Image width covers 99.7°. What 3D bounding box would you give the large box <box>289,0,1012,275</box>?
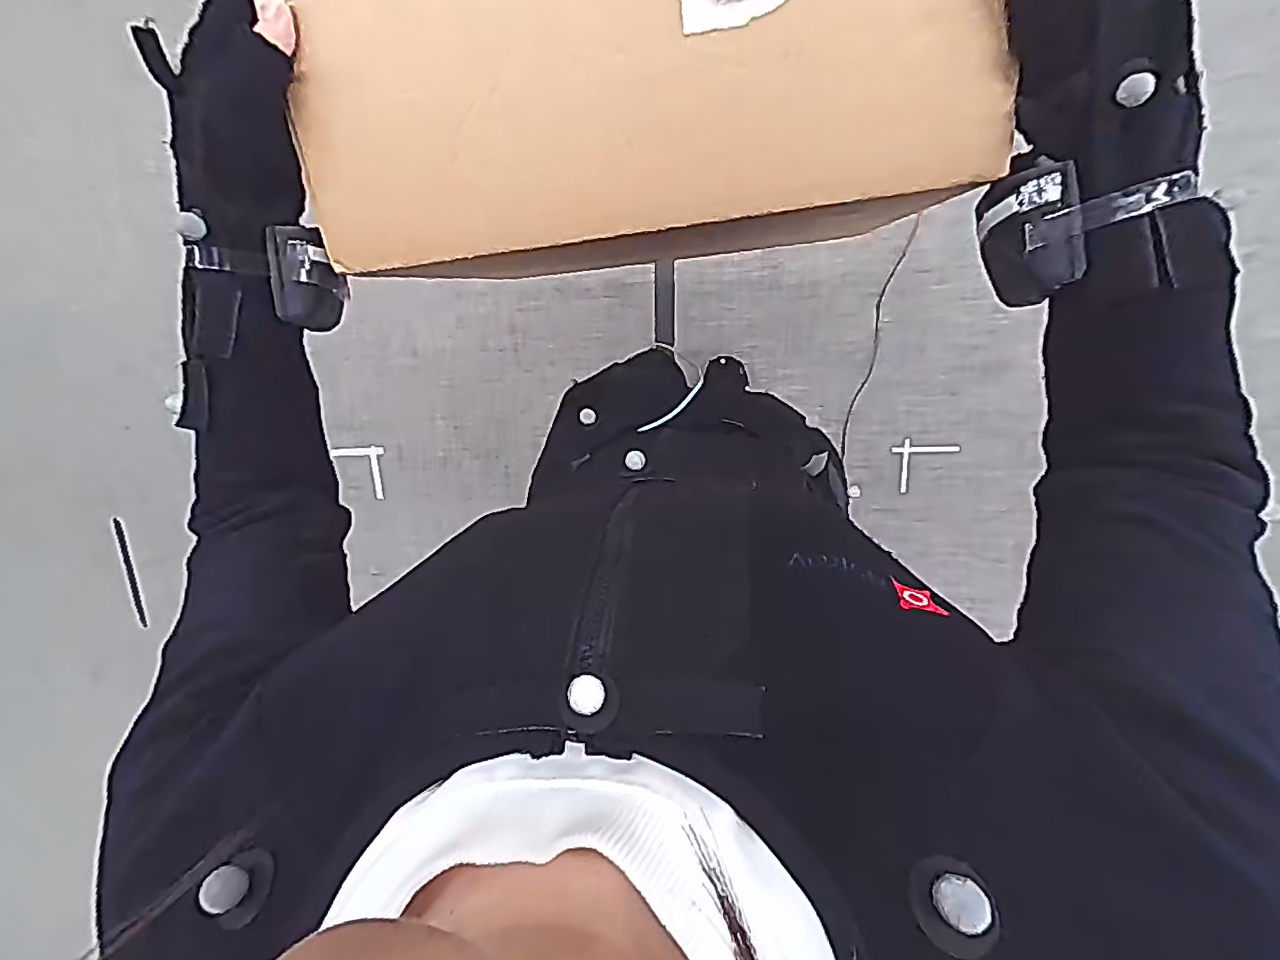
[{"bbox_3d":[0.005,-0.355,0.424,0.408,0.320,0.320,-4,110,10],"label":"large box"}]
